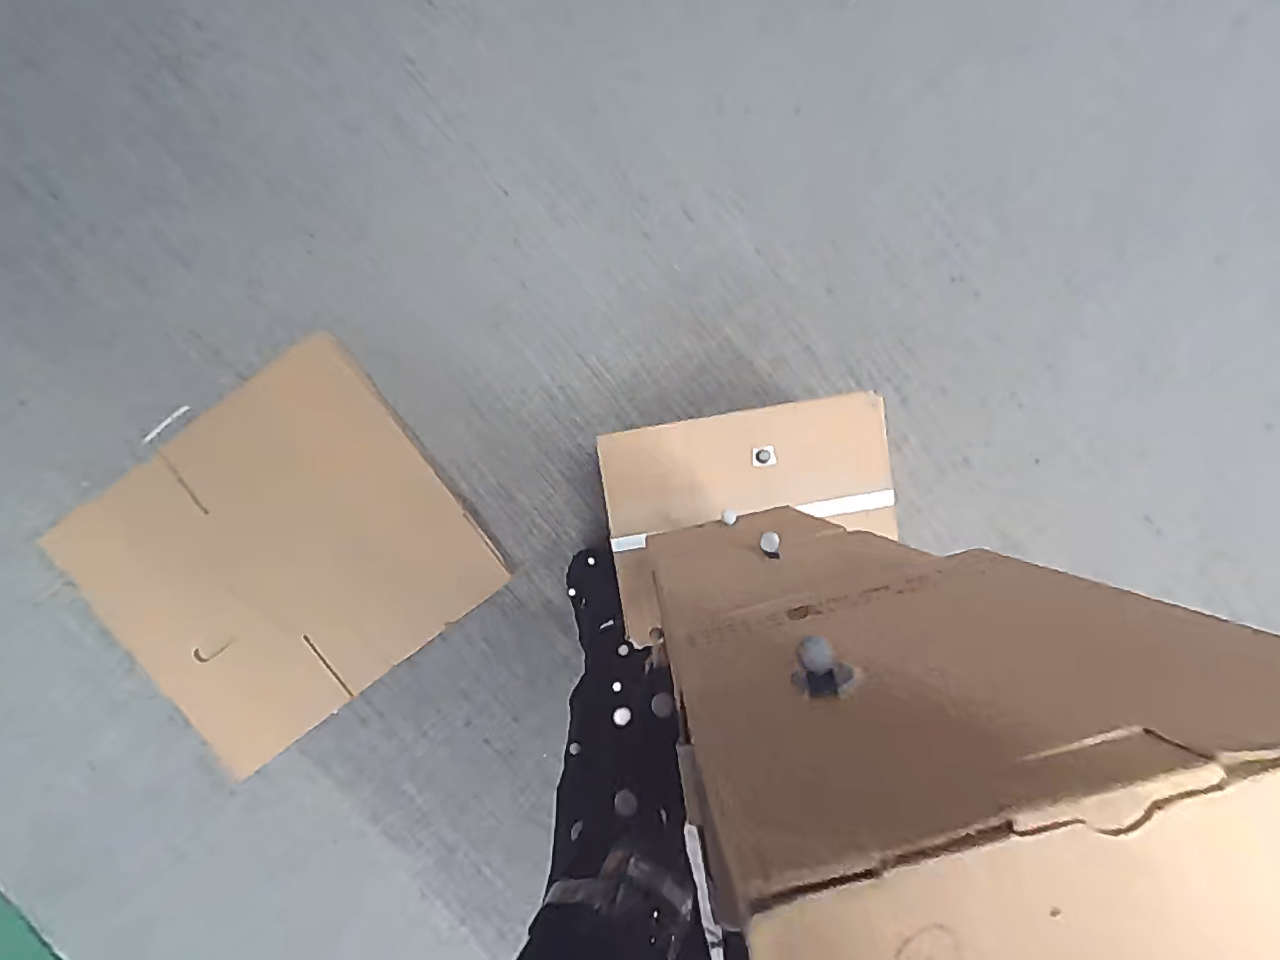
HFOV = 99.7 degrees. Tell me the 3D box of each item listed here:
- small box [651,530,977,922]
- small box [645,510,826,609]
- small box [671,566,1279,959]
[{"bbox_3d":[0.107,0.137,0.363,0.179,0.176,0.168,-13,92,-1],"label":"small box"},{"bbox_3d":[0.103,0.136,0.524,0.168,0.176,0.179,-13,92,0],"label":"small box"},{"bbox_3d":[0.113,0.141,0.198,0.168,0.176,0.179,-16,94,1],"label":"small box"}]
